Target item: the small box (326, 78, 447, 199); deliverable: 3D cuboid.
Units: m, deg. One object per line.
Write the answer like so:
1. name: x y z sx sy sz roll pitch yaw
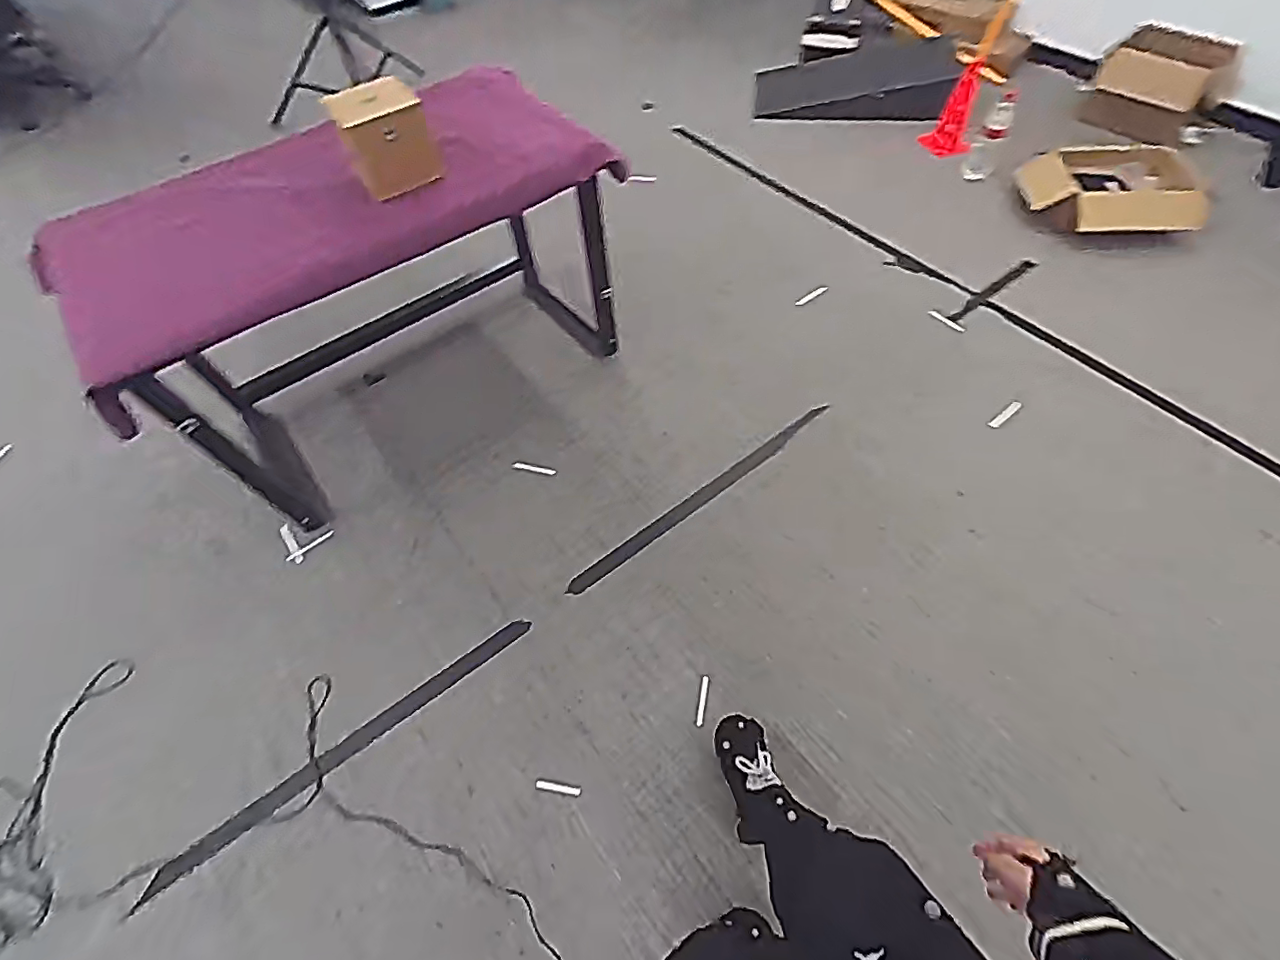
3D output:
1. small box: -0.585 -0.794 1.266 0.179 0.176 0.168 -32 63 -16
